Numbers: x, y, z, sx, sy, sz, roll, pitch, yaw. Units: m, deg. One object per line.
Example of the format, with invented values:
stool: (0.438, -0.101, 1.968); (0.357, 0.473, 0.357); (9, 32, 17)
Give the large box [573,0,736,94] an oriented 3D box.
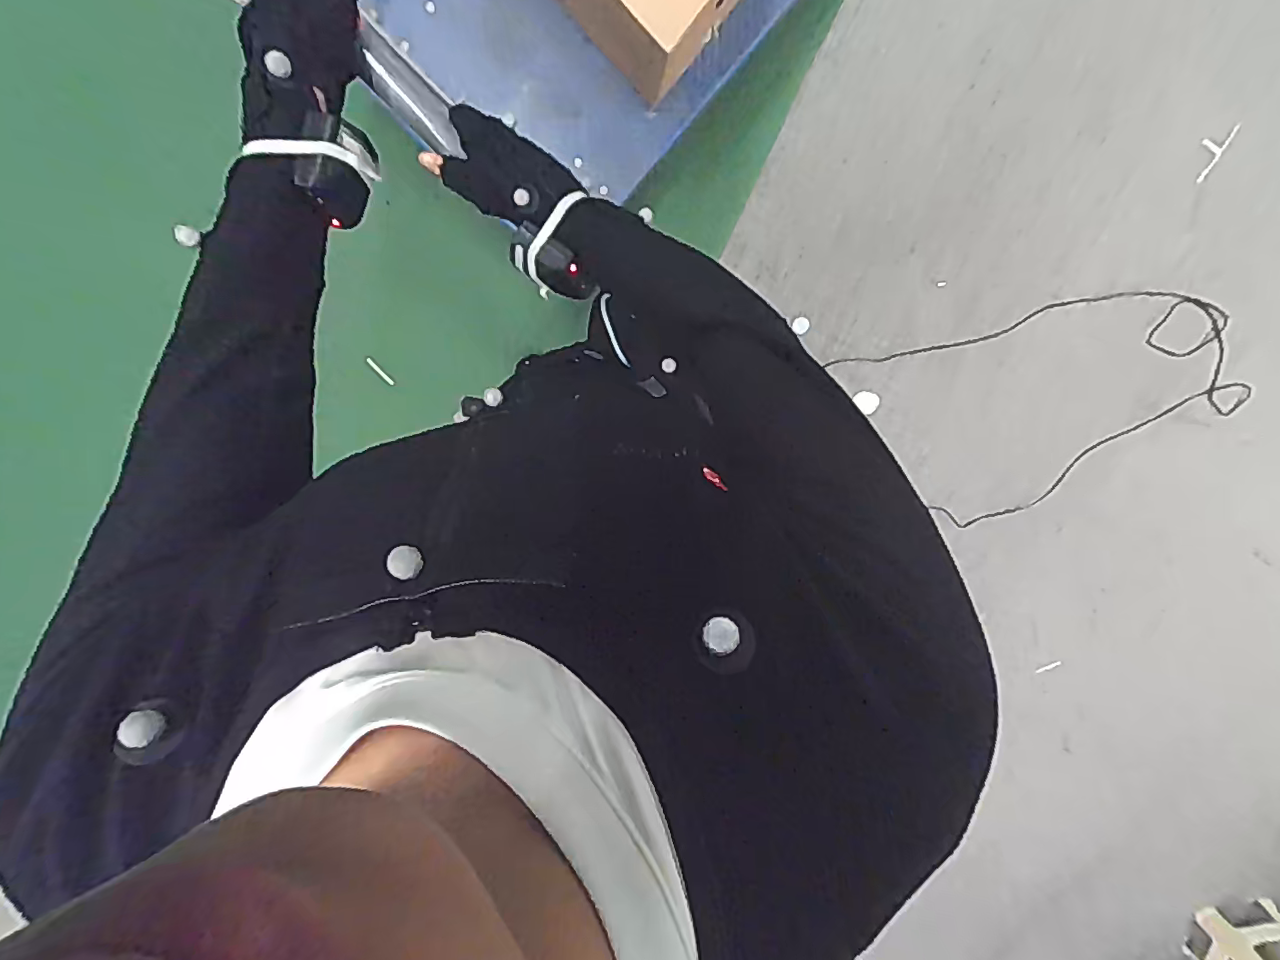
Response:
large box: (0.000, -0.906, 0.817); (0.408, 0.320, 0.320); (40, 106, -16)
